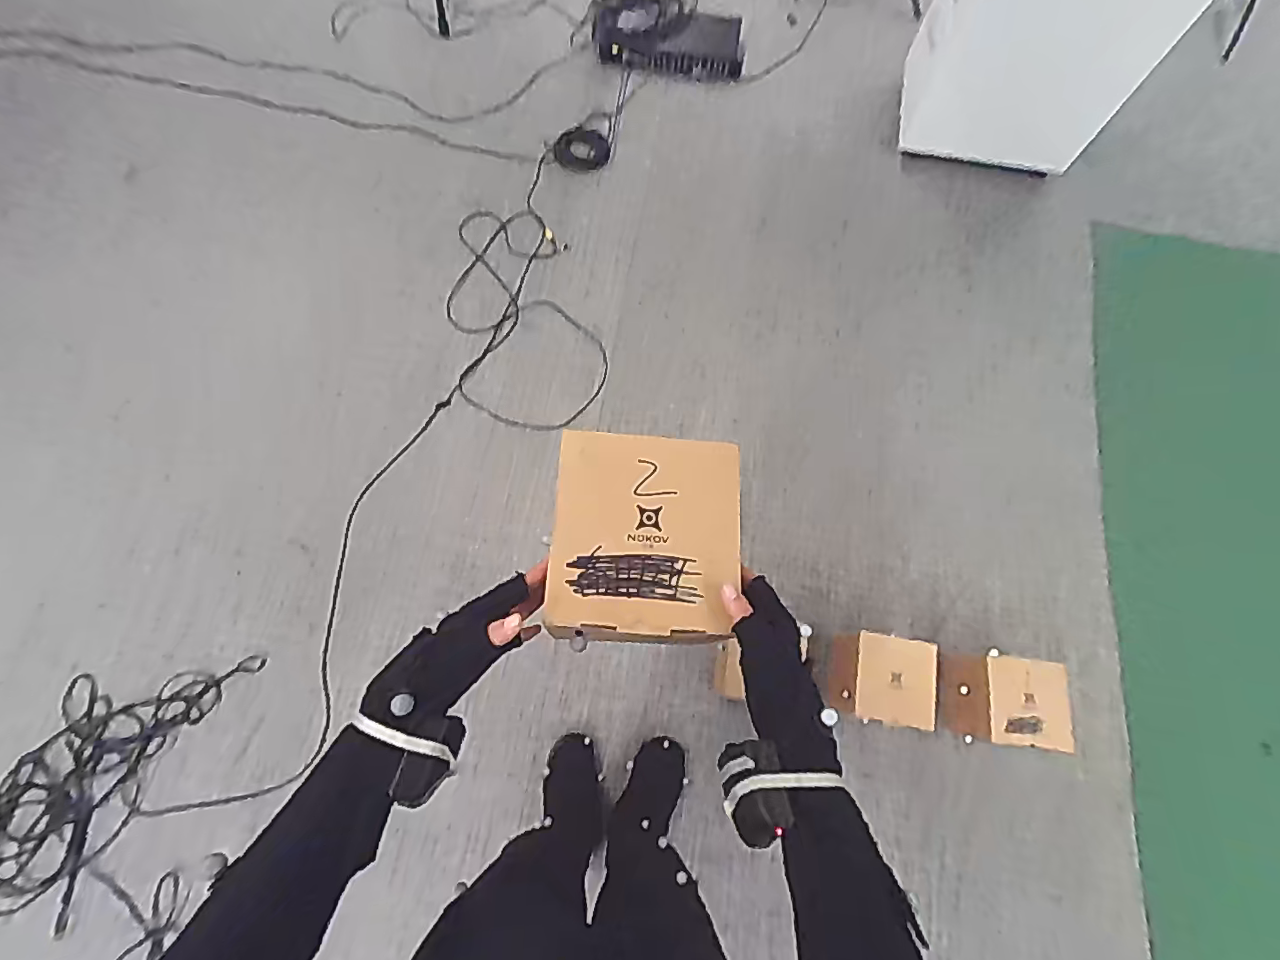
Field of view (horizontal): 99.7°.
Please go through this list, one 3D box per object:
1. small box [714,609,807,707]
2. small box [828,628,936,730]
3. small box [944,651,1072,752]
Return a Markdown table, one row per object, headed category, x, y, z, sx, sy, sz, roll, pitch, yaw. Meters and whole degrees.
| category | x | y | z | sx | sy | sz | roll | pitch | yaw |
| --- | --- | --- | --- | --- | --- | --- | --- | --- | --- |
| small box | 0.262 | 0.392 | 1.202 | 0.168 | 0.176 | 0.179 | 8 | 73 | 3 |
| small box | 0.527 | 0.434 | 1.194 | 0.168 | 0.176 | 0.179 | 10 | 73 | 3 |
| small box | 0.792 | 0.474 | 1.182 | 0.168 | 0.176 | 0.179 | 7 | 72 | 2 |
